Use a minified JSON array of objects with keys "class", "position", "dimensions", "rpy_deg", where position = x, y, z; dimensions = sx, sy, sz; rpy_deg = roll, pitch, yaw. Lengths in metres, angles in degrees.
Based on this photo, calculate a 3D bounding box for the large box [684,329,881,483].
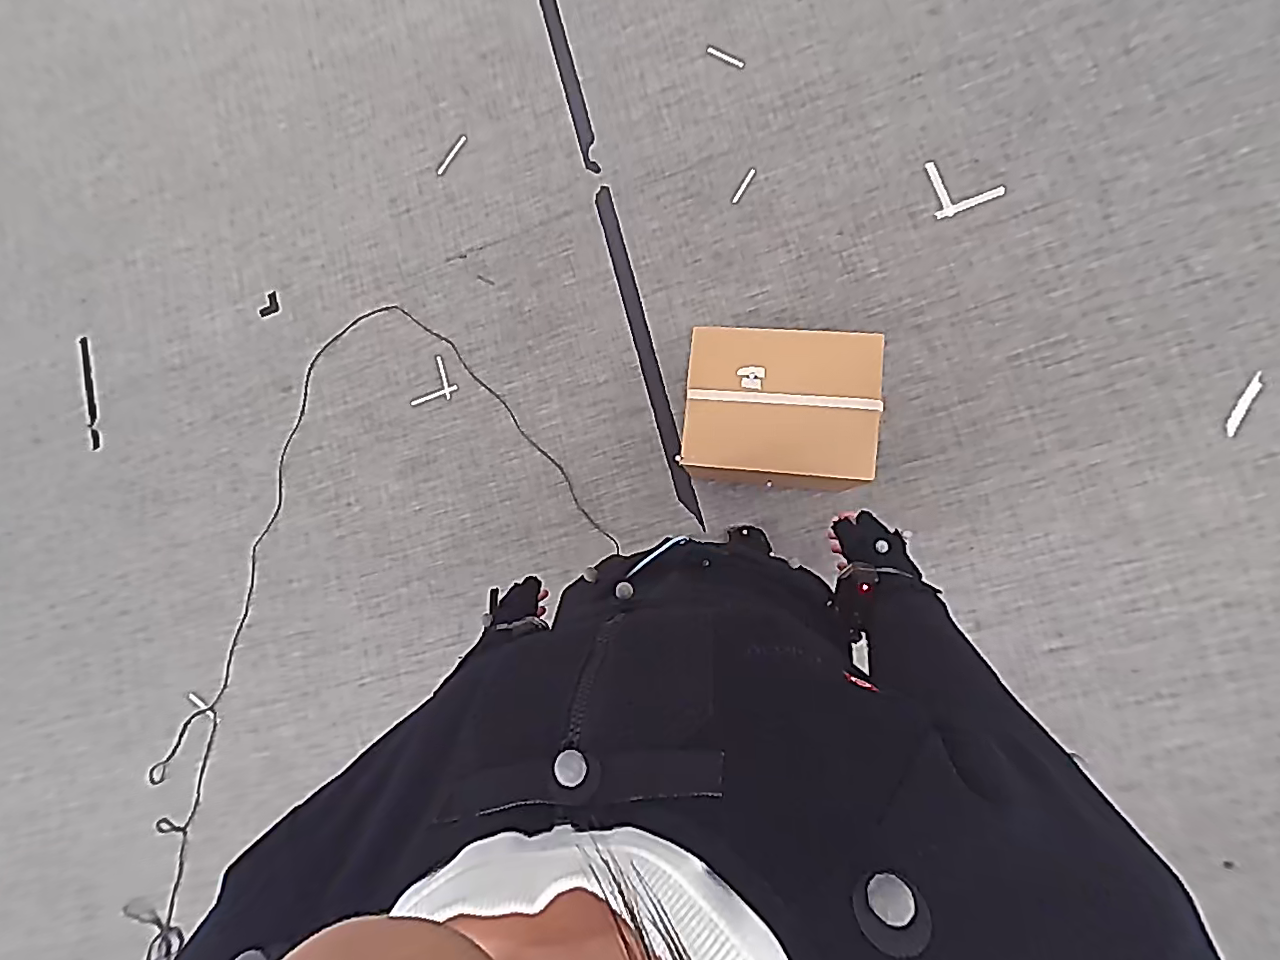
[{"class":"large box","position":[0.334,-0.164,1.314],"dimensions":[0.408,0.320,0.320],"rpy_deg":[5,85,11]}]
